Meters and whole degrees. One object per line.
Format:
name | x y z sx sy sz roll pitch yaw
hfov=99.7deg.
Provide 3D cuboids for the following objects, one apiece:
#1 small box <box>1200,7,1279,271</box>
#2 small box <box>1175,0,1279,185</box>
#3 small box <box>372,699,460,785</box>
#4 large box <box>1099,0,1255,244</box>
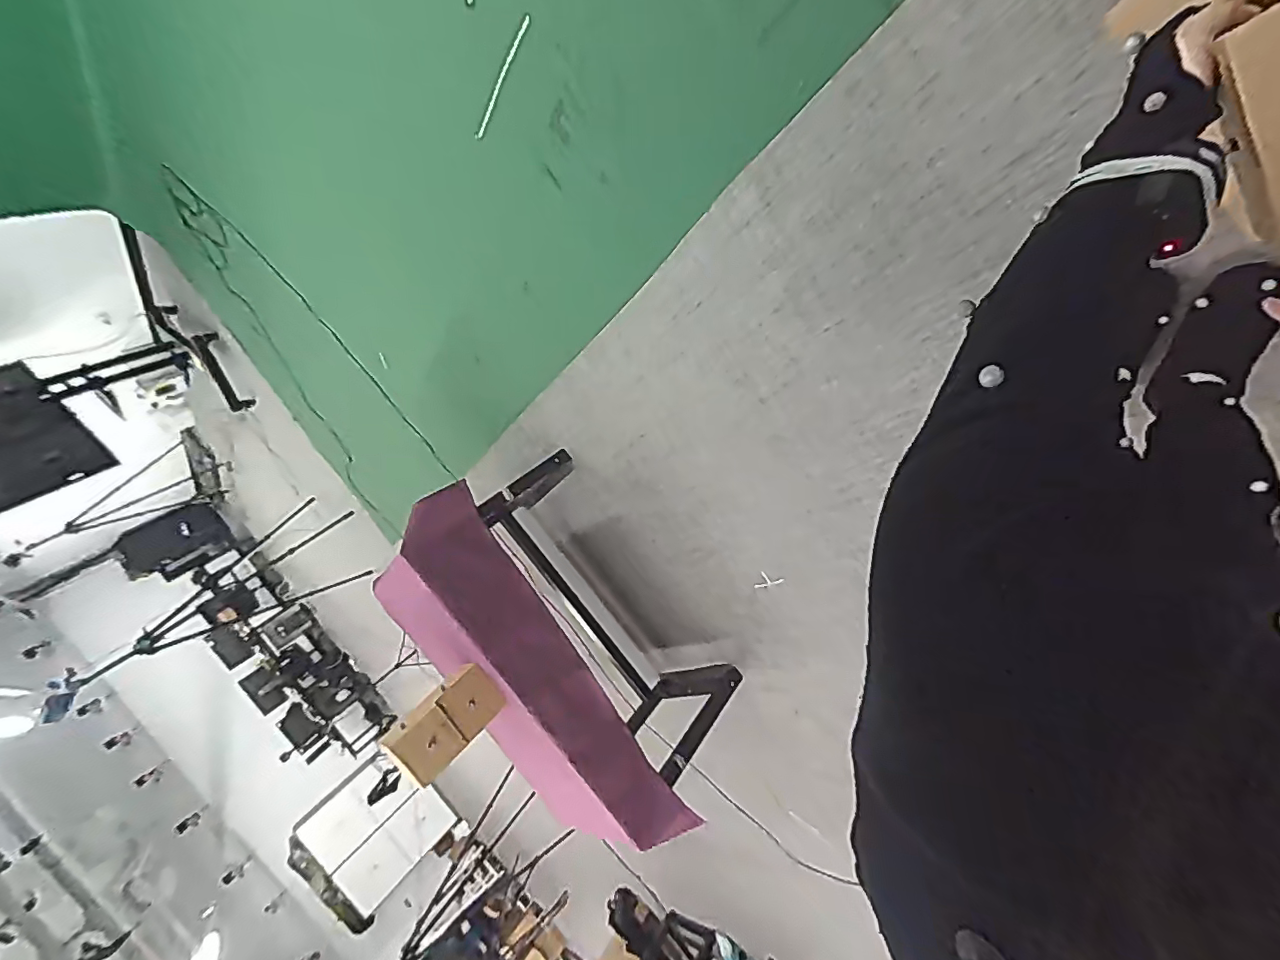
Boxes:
small box | 0.521 -0.272 0.365 0.179 0.176 0.168 -18 106 46
small box | 0.611 -0.367 0.469 0.179 0.176 0.168 -26 100 48
small box | -0.682 0.798 1.660 0.179 0.176 0.168 -25 102 49
large box | 0.794 -0.527 0.559 0.320 0.320 0.408 54 139 -4
